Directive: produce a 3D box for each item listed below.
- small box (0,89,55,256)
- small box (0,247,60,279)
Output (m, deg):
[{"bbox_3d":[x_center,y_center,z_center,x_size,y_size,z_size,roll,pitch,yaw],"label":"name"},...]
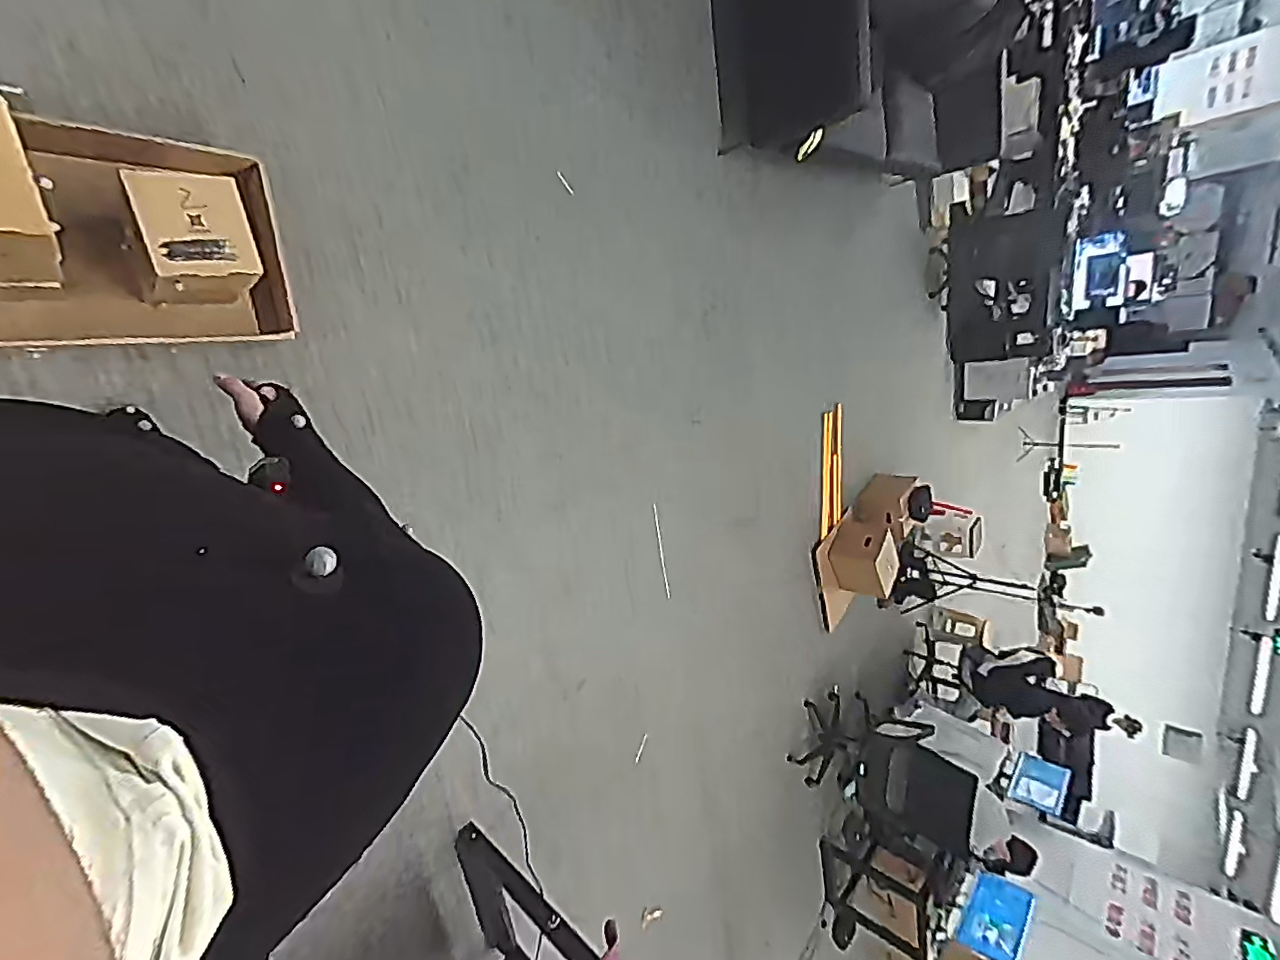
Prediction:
[{"bbox_3d":[-0.937,-0.415,0.729,0.168,0.176,0.179,-21,109,-42],"label":"small box"},{"bbox_3d":[-1.052,-0.424,0.844,0.168,0.176,0.179,-19,106,-42],"label":"small box"}]
